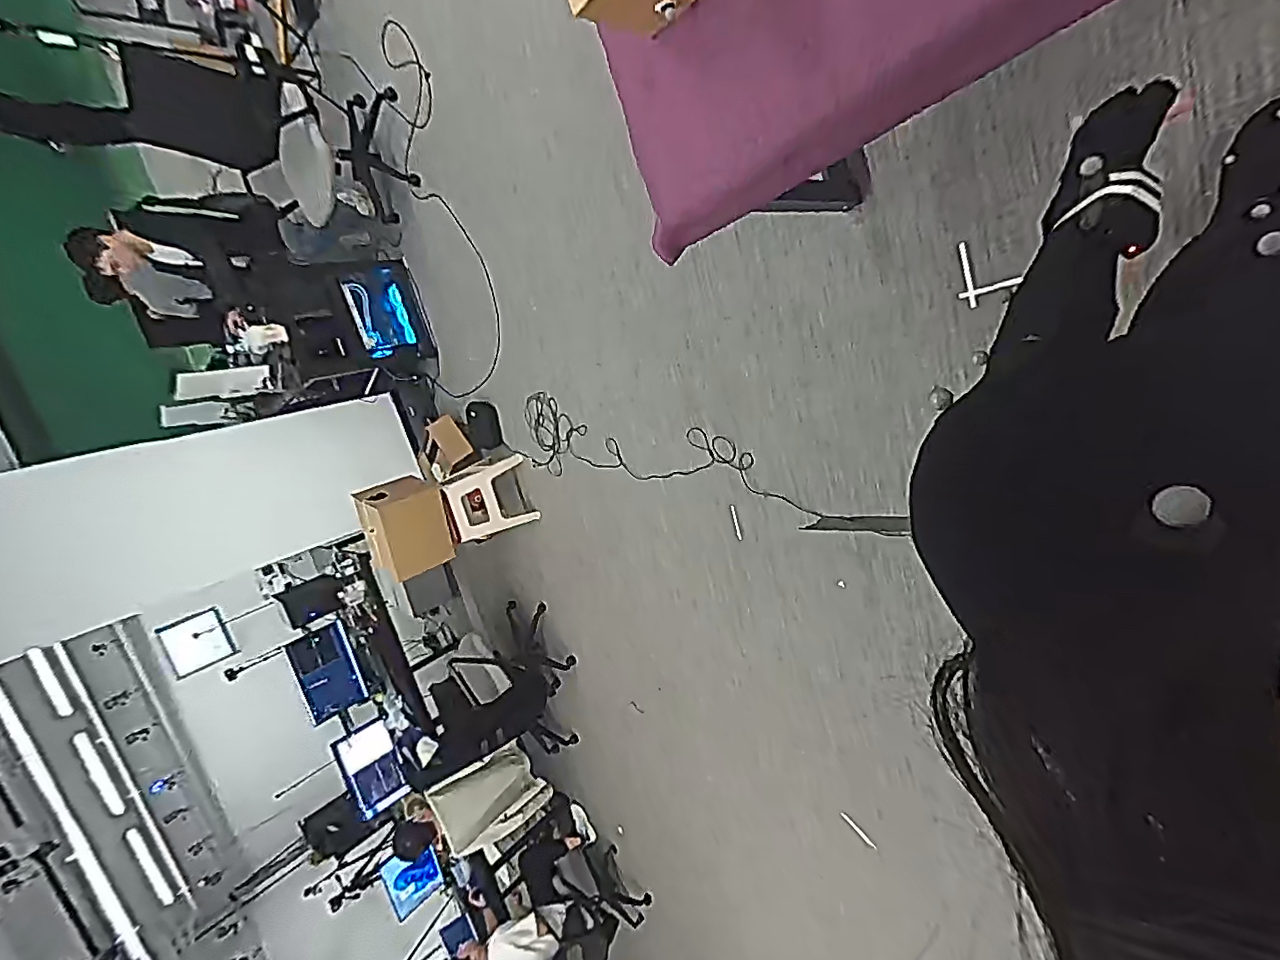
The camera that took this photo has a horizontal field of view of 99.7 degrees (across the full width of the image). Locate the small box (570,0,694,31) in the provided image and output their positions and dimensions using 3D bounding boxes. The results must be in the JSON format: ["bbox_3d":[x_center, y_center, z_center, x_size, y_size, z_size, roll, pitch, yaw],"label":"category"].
[{"bbox_3d":[-0.003,-0.753,0.720,0.168,0.176,0.179,-3,108,48],"label":"small box"}]
